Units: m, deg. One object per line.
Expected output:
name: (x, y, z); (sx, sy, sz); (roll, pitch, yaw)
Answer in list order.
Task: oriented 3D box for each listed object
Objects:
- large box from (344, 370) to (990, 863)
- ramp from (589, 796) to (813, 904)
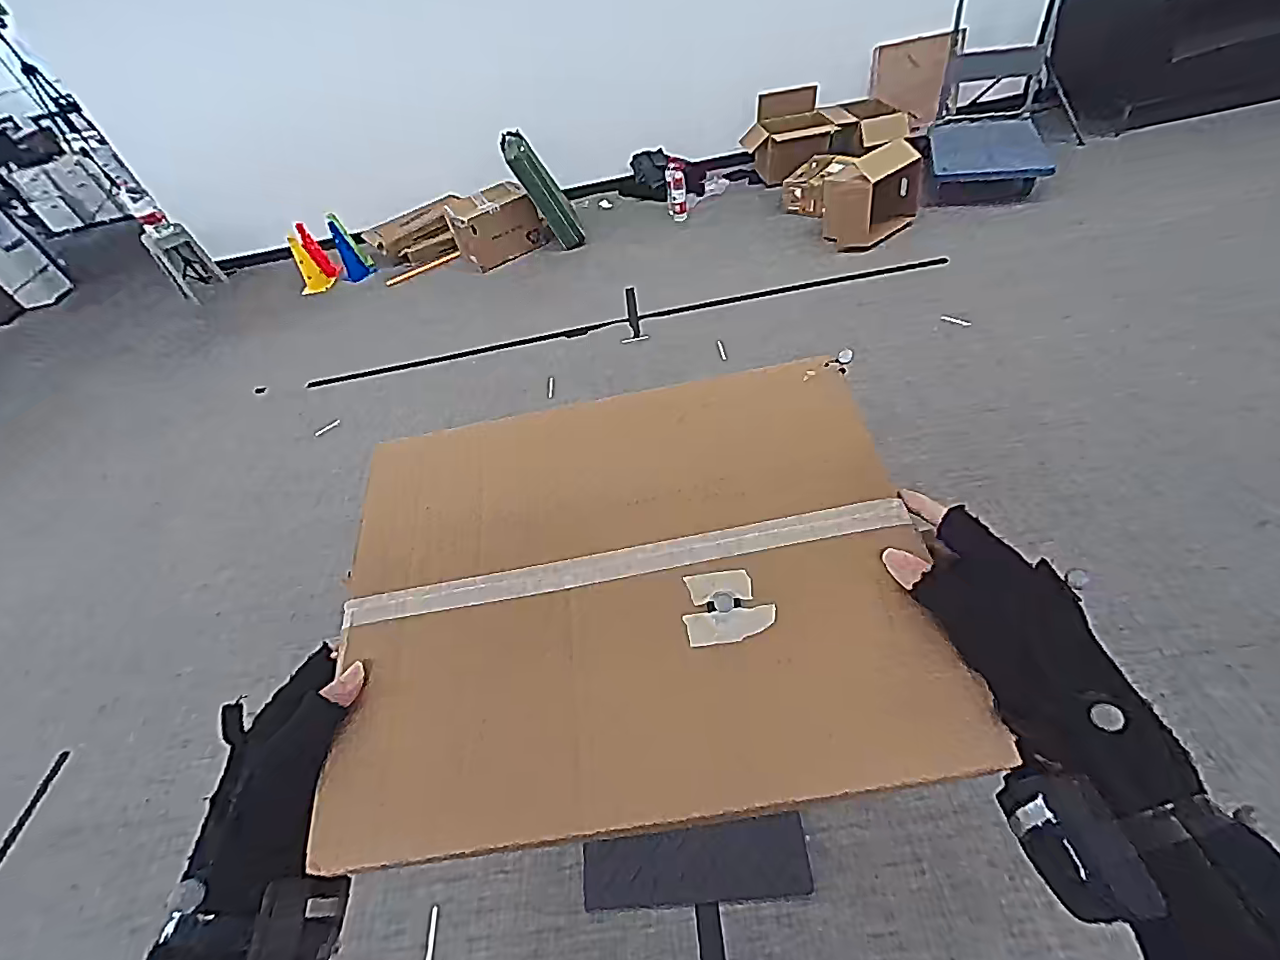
large box: (0.010, 0.146, 0.525); (0.408, 0.320, 0.320); (-11, 58, 2)
ramp: (0.097, 0.474, 1.425); (0.509, 0.206, 0.991); (-9, 47, 3)
